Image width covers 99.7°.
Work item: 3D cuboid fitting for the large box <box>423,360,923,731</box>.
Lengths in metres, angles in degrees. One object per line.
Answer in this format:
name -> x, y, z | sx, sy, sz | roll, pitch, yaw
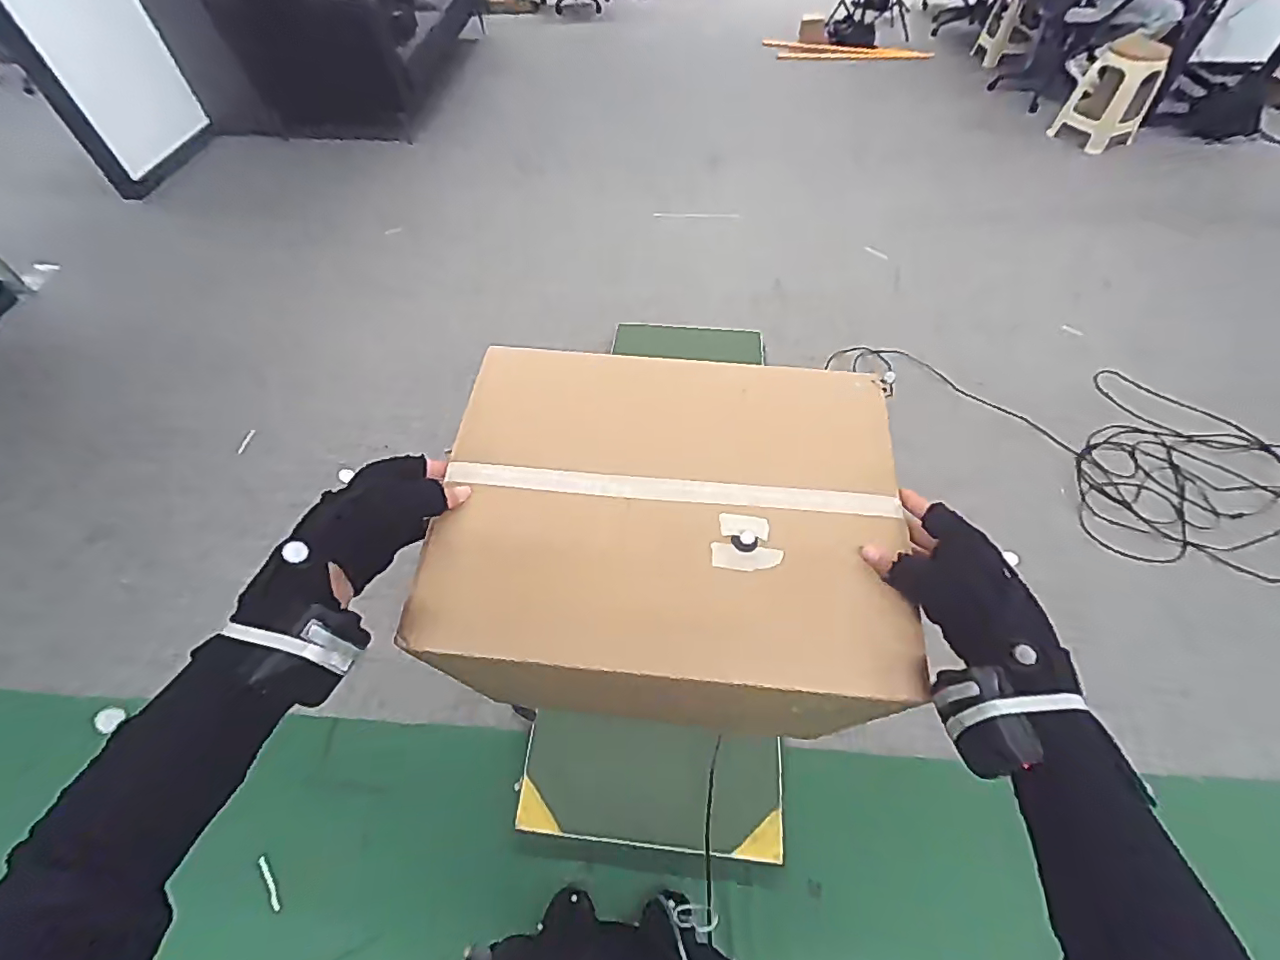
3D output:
large box -> 0.032, 0.091, 0.624 | 0.408, 0.320, 0.320 | 5, 61, 2
